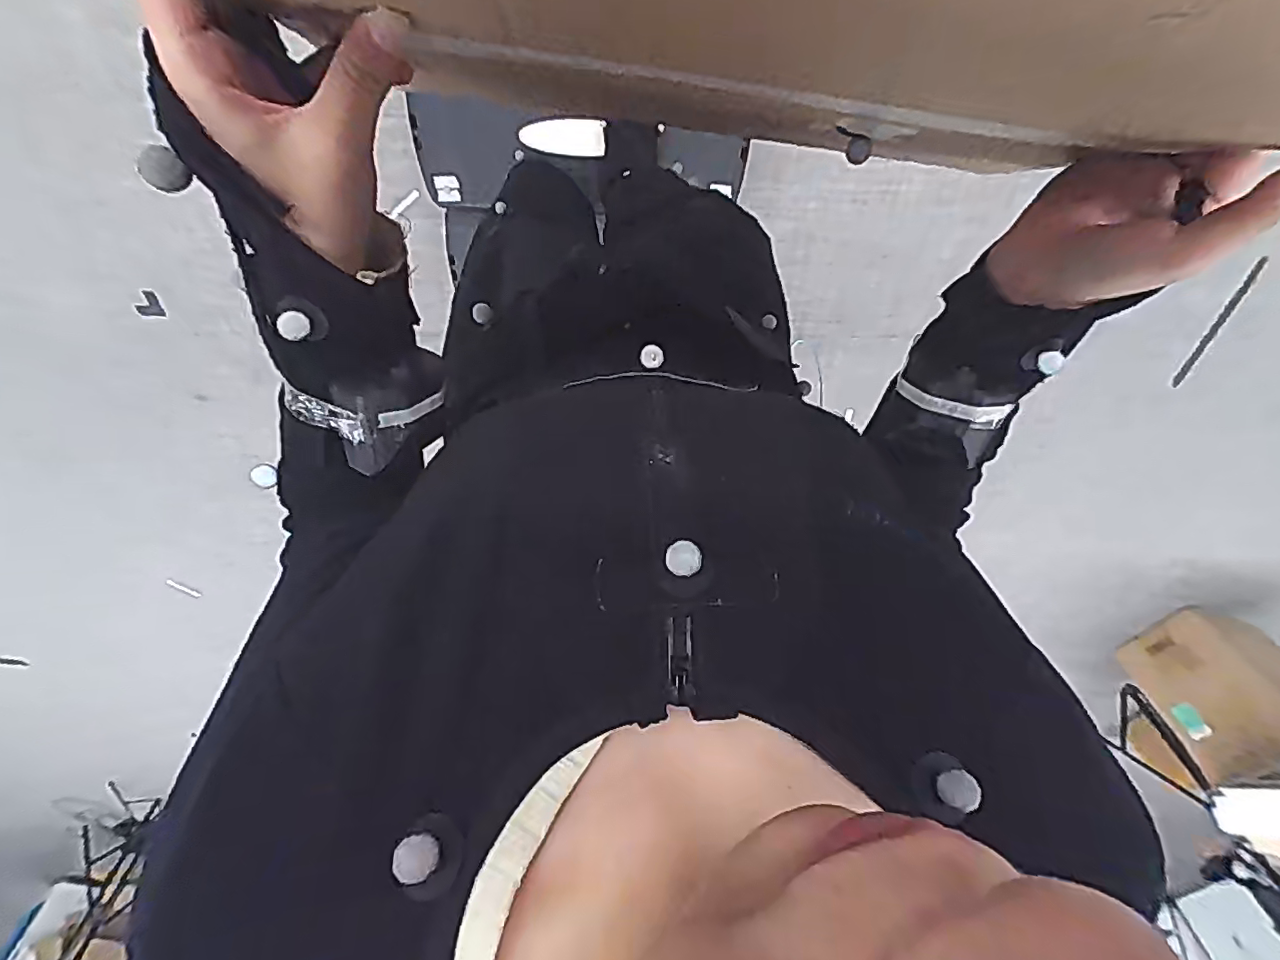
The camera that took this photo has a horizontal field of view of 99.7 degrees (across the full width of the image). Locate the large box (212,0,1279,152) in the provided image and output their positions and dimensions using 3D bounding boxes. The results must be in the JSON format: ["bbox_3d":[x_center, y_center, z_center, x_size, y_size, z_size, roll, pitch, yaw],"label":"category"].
[{"bbox_3d":[0.052,-0.304,0.151,0.408,0.320,0.320,3,117,-5],"label":"large box"}]

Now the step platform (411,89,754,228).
[{"bbox_3d":[-0.109,-0.726,1.127,0.684,0.204,0.286,3,130,-6],"label":"step platform"}]
